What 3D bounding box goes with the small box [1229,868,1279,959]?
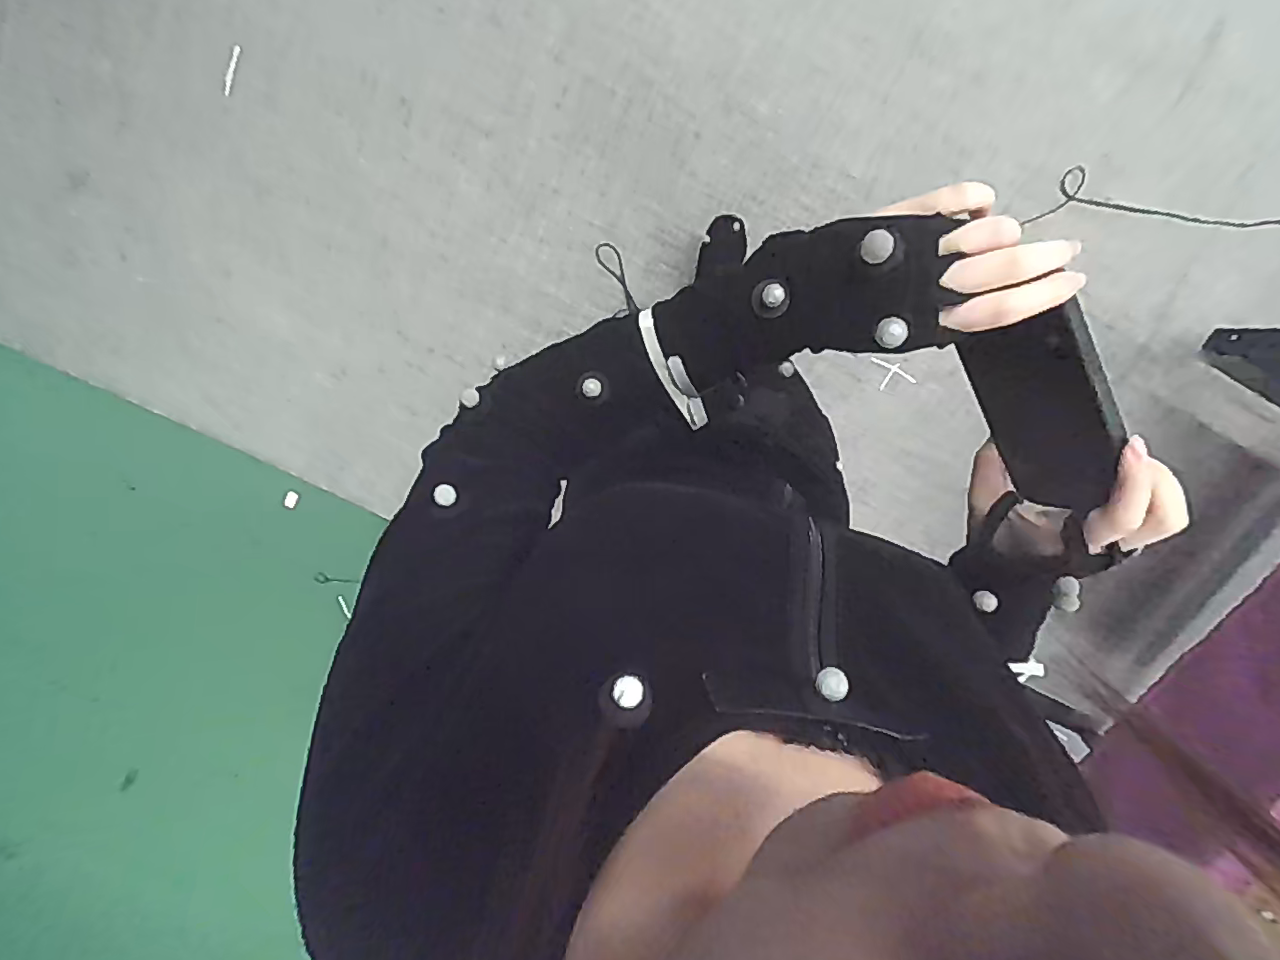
[{"bbox_3d":[1.136,0.776,0.874,0.168,0.176,0.179,25,105,-7],"label":"small box"}]
